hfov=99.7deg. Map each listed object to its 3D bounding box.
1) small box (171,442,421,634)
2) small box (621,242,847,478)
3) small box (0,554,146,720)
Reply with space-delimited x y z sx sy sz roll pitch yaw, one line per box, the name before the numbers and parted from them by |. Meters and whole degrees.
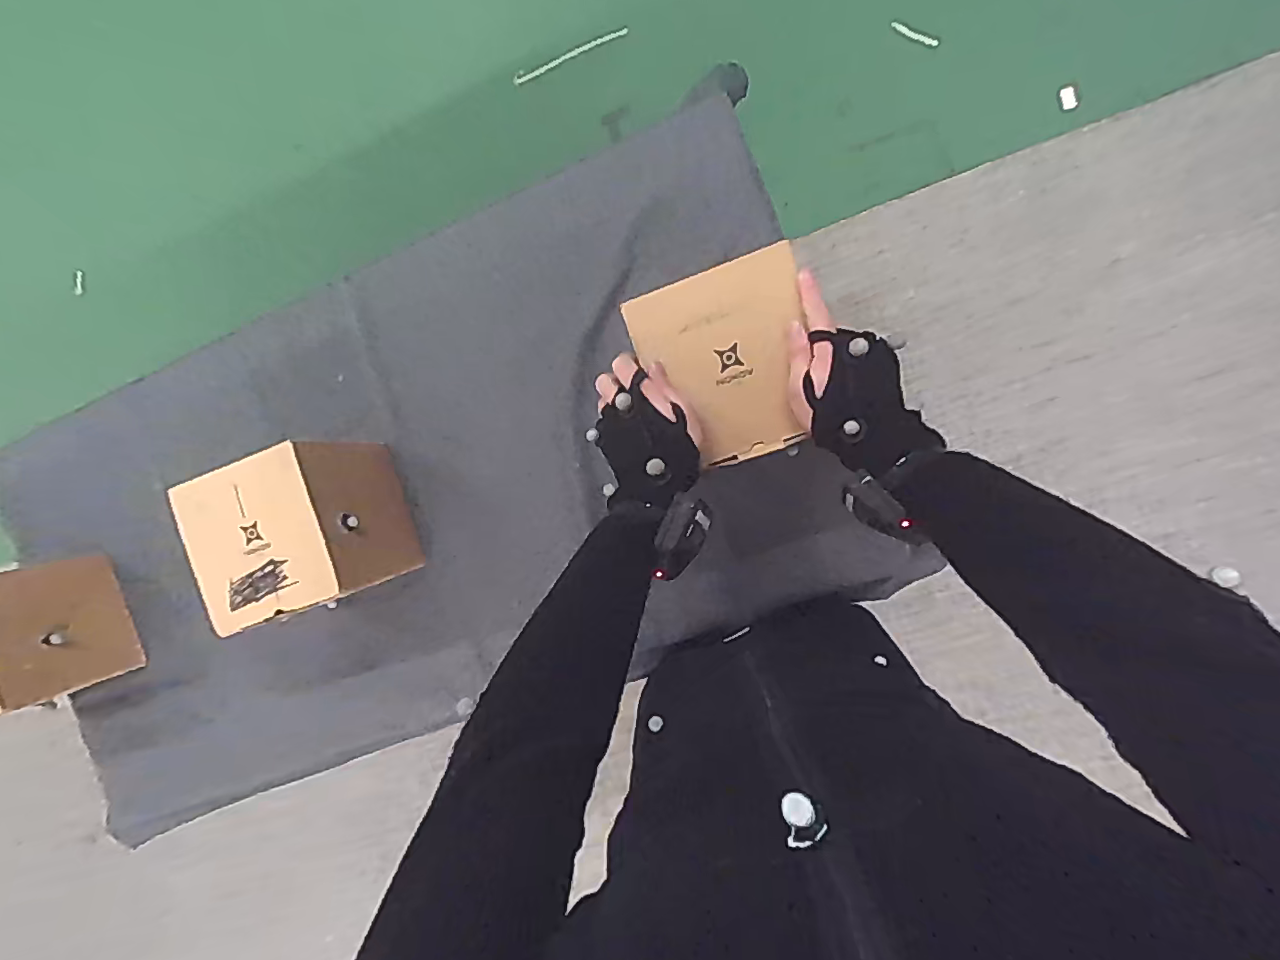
small box | -0.400 0.060 0.659 0.168 0.176 0.179 -19 90 9
small box | 0.096 -0.112 0.573 0.168 0.176 0.179 -19 89 8
small box | -0.839 0.220 0.735 0.168 0.176 0.179 -21 91 8
